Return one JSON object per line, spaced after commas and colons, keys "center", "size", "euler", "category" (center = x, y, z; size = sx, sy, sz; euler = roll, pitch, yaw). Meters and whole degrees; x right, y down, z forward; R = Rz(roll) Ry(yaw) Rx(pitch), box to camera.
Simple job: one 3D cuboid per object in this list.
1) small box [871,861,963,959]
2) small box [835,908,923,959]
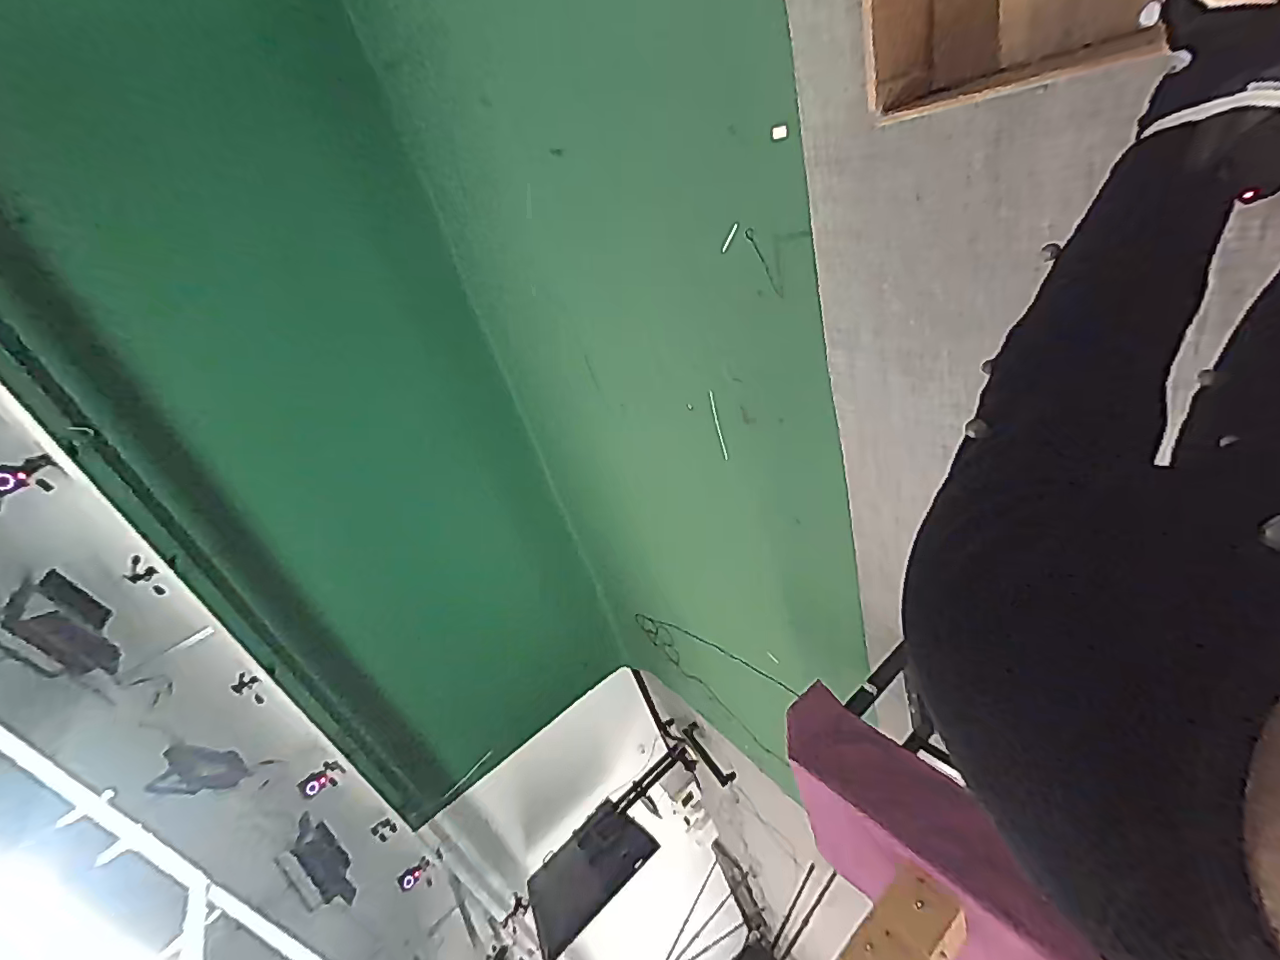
{"center": [0.769, 1.214, 1.496], "size": [0.168, 0.176, 0.179], "euler": [22, 138, 53], "category": "small box"}
{"center": [0.644, 1.298, 1.432], "size": [0.168, 0.176, 0.179], "euler": [24, 140, 51], "category": "small box"}
